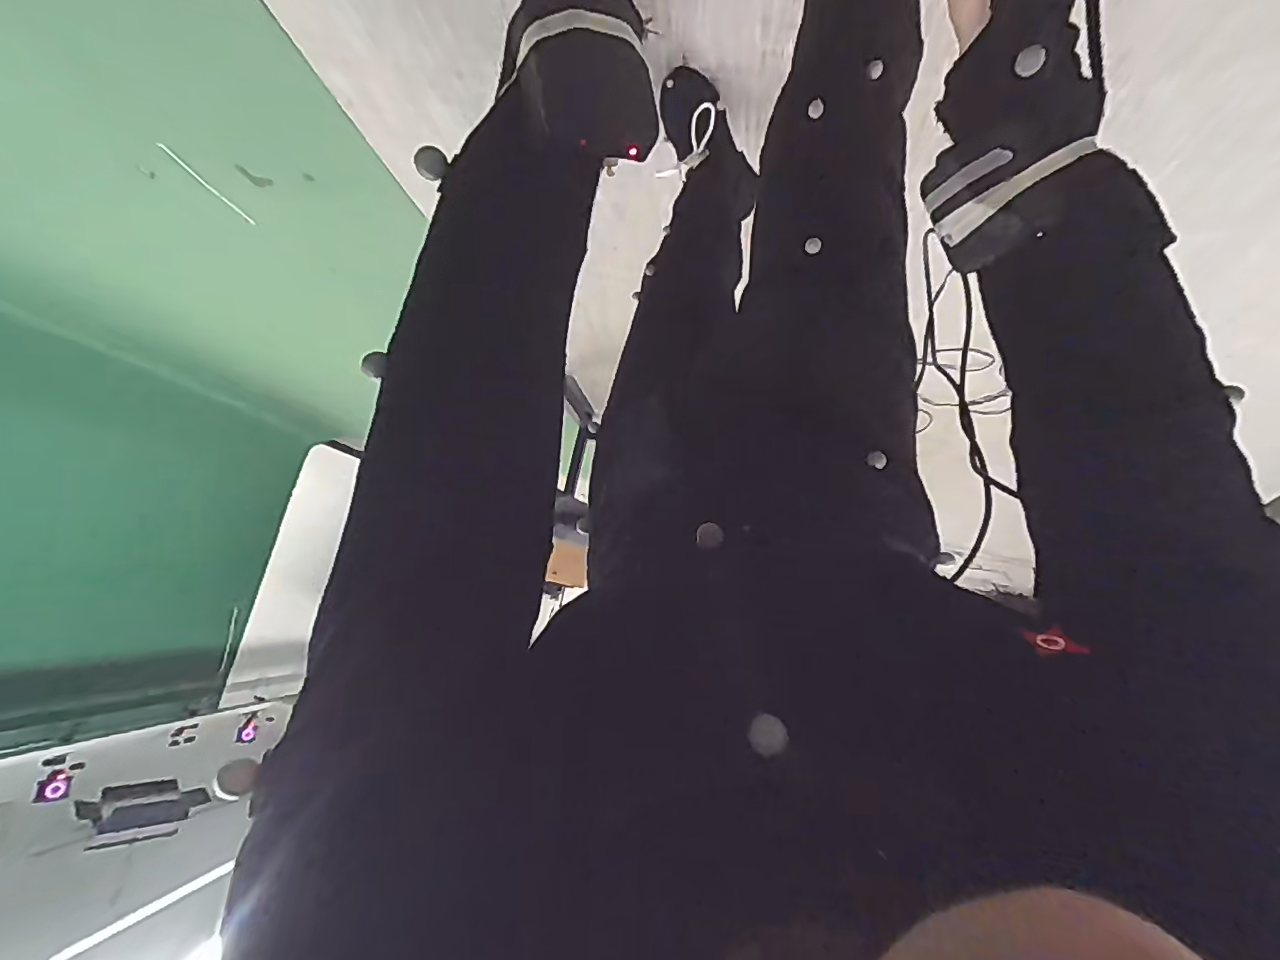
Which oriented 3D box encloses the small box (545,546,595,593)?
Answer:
[{"bbox_3d":[-0.294,0.384,2.319,0.179,0.176,0.168,12,169,3],"label":"small box"}]
